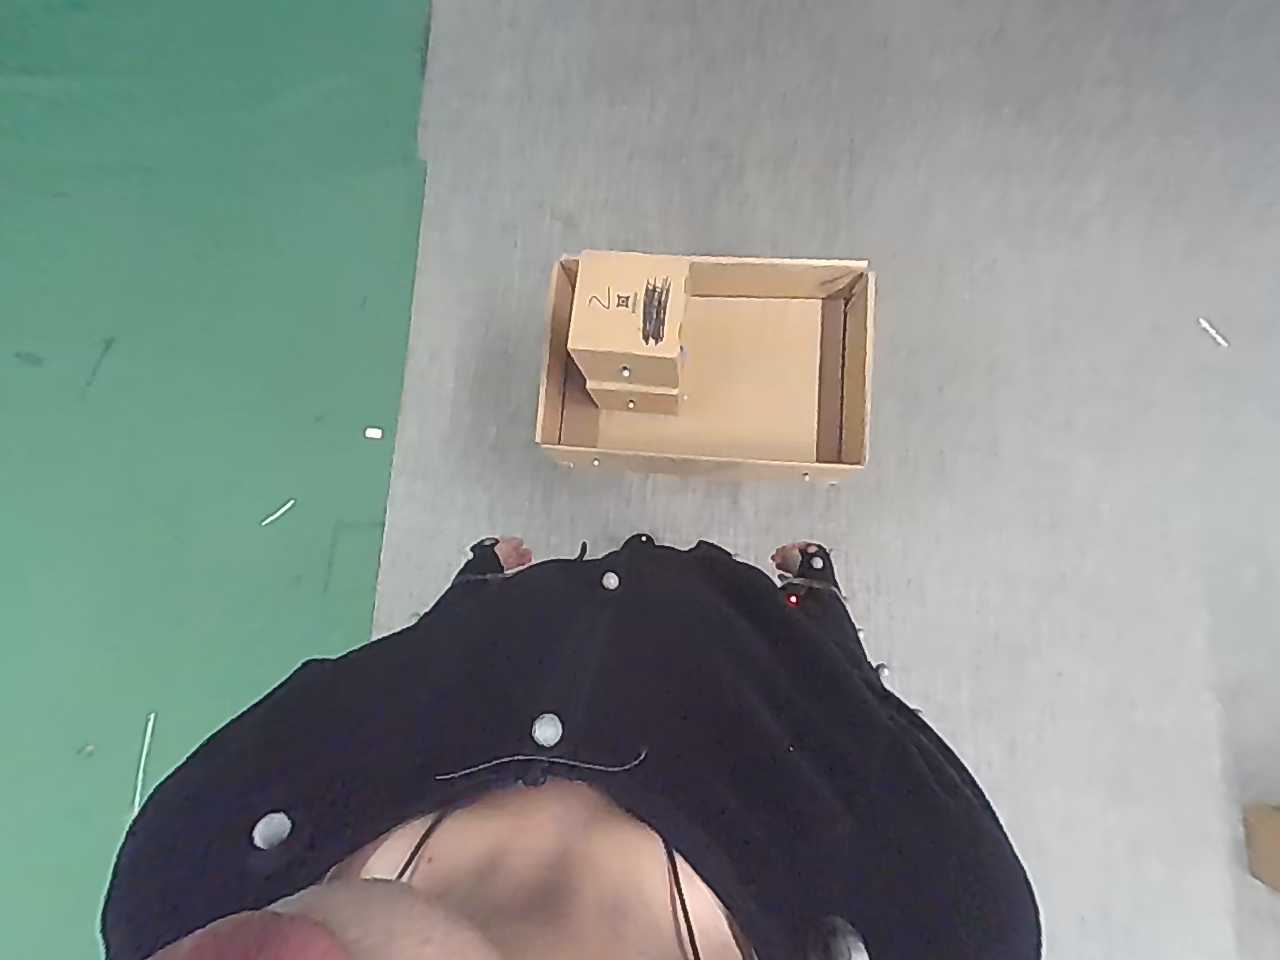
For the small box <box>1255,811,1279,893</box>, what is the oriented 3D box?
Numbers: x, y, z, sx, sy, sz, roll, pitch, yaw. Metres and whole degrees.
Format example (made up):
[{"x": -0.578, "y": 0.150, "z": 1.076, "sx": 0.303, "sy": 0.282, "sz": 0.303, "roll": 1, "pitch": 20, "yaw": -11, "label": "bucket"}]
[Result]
[{"x": 1.551, "y": 0.872, "z": 1.210, "sx": 0.168, "sy": 0.176, "sz": 0.179, "roll": 2, "pitch": 83, "yaw": 6, "label": "small box"}]

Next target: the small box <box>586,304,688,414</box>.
[{"x": 0.001, "y": -0.232, "z": 1.073, "sx": 0.179, "sy": 0.176, "sz": 0.168, "roll": 5, "pitch": 83, "yaw": 6, "label": "small box"}]
